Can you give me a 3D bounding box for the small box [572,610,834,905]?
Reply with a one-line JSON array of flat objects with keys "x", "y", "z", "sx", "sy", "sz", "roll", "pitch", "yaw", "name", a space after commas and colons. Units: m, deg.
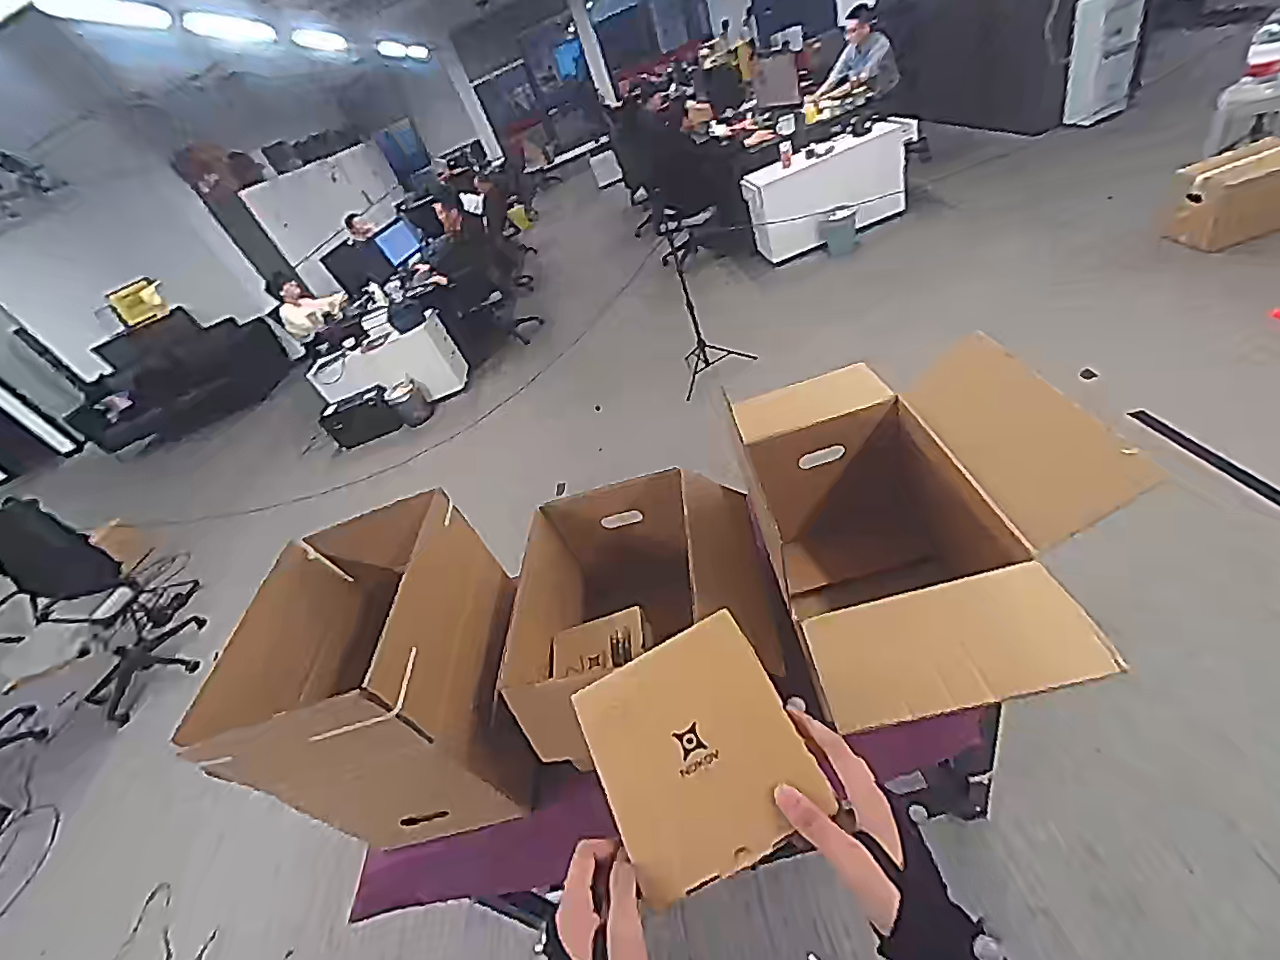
[{"x": 0.061, "y": 0.257, "z": 0.520, "sx": 0.168, "sy": 0.176, "sz": 0.179, "roll": -30, "pitch": 59, "yaw": 1, "name": "small box"}]
